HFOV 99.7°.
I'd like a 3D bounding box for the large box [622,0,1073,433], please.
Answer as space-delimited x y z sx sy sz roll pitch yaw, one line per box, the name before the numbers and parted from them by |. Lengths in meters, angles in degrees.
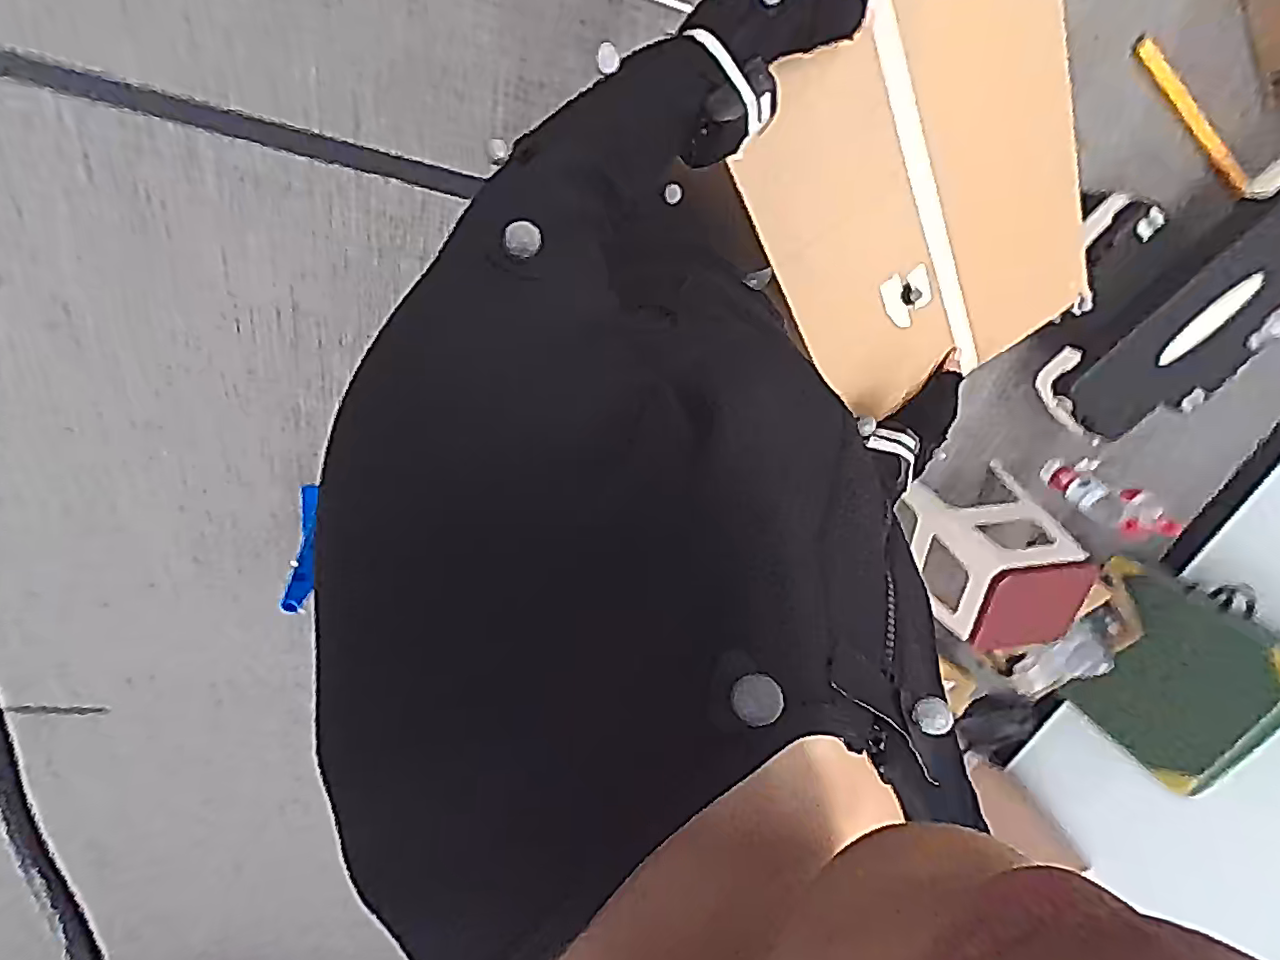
large box | 0.234 -0.342 0.655 0.320 0.320 0.408 -34 122 6
